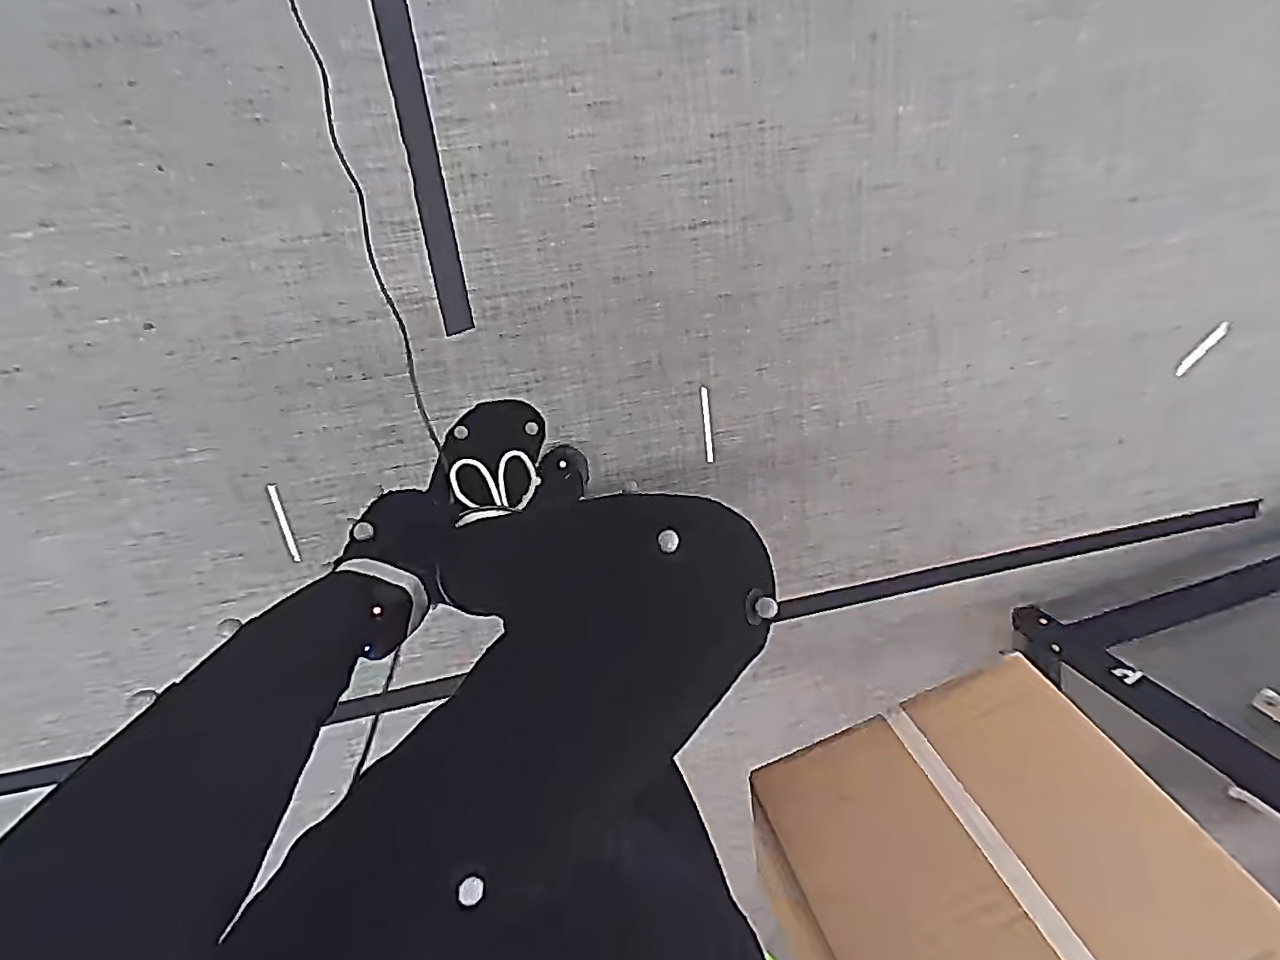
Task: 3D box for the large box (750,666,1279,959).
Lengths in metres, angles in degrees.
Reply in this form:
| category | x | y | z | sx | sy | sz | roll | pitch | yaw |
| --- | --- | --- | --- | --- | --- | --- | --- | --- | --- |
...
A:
| category | x | y | z | sx | sy | sz | roll | pitch | yaw |
| --- | --- | --- | --- | --- | --- | --- | --- | --- | --- |
| large box | 0.330 | 0.464 | 0.492 | 0.320 | 0.408 | 0.320 | -19 | 131 | -8 |
